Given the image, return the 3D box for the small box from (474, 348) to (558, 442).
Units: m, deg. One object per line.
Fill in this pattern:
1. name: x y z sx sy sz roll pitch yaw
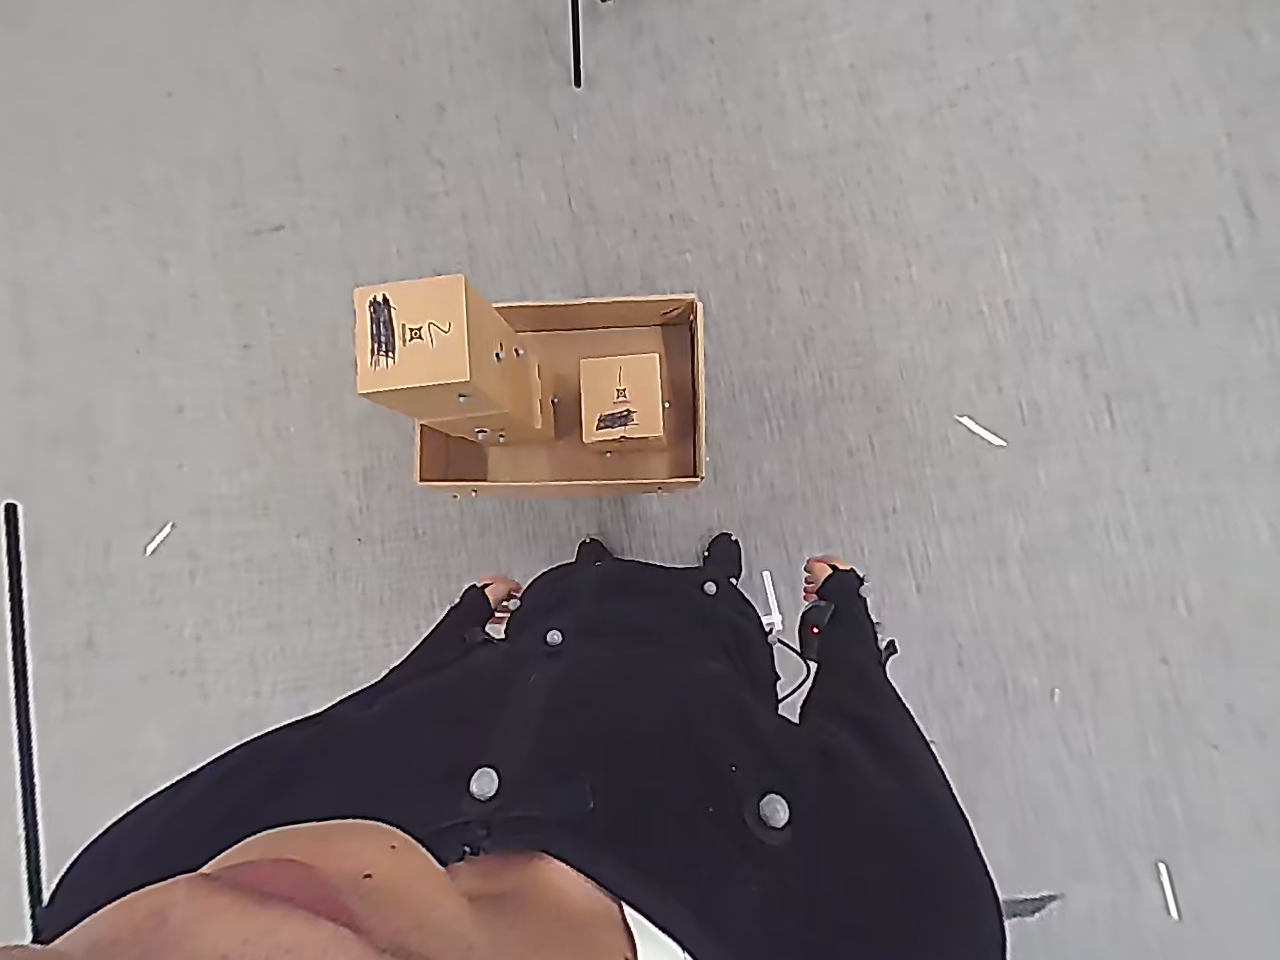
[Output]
1. small box: -0.288 -0.179 1.194 0.179 0.176 0.168 -4 85 4

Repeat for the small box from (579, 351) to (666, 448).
1. small box: -0.033 -0.165 1.172 0.168 0.176 0.179 -4 84 4

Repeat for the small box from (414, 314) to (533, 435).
1. small box: -0.310 -0.194 1.033 0.168 0.176 0.179 -7 84 5
